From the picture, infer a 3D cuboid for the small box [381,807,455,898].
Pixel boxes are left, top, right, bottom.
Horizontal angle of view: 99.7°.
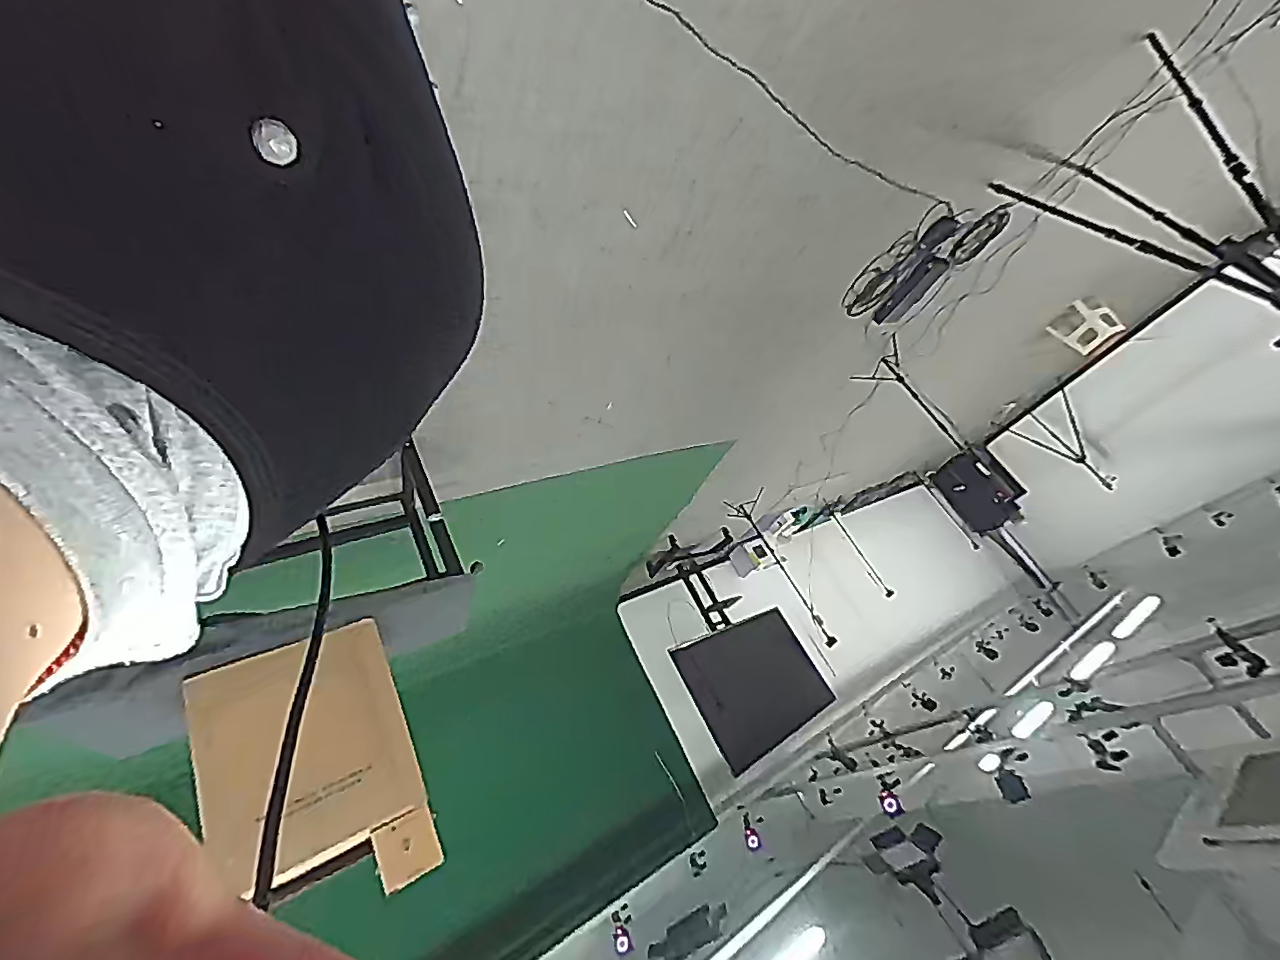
[{"bbox_3d":[-0.676,1.129,1.644,0.168,0.176,0.179,-17,153,-31],"label":"small box"}]
